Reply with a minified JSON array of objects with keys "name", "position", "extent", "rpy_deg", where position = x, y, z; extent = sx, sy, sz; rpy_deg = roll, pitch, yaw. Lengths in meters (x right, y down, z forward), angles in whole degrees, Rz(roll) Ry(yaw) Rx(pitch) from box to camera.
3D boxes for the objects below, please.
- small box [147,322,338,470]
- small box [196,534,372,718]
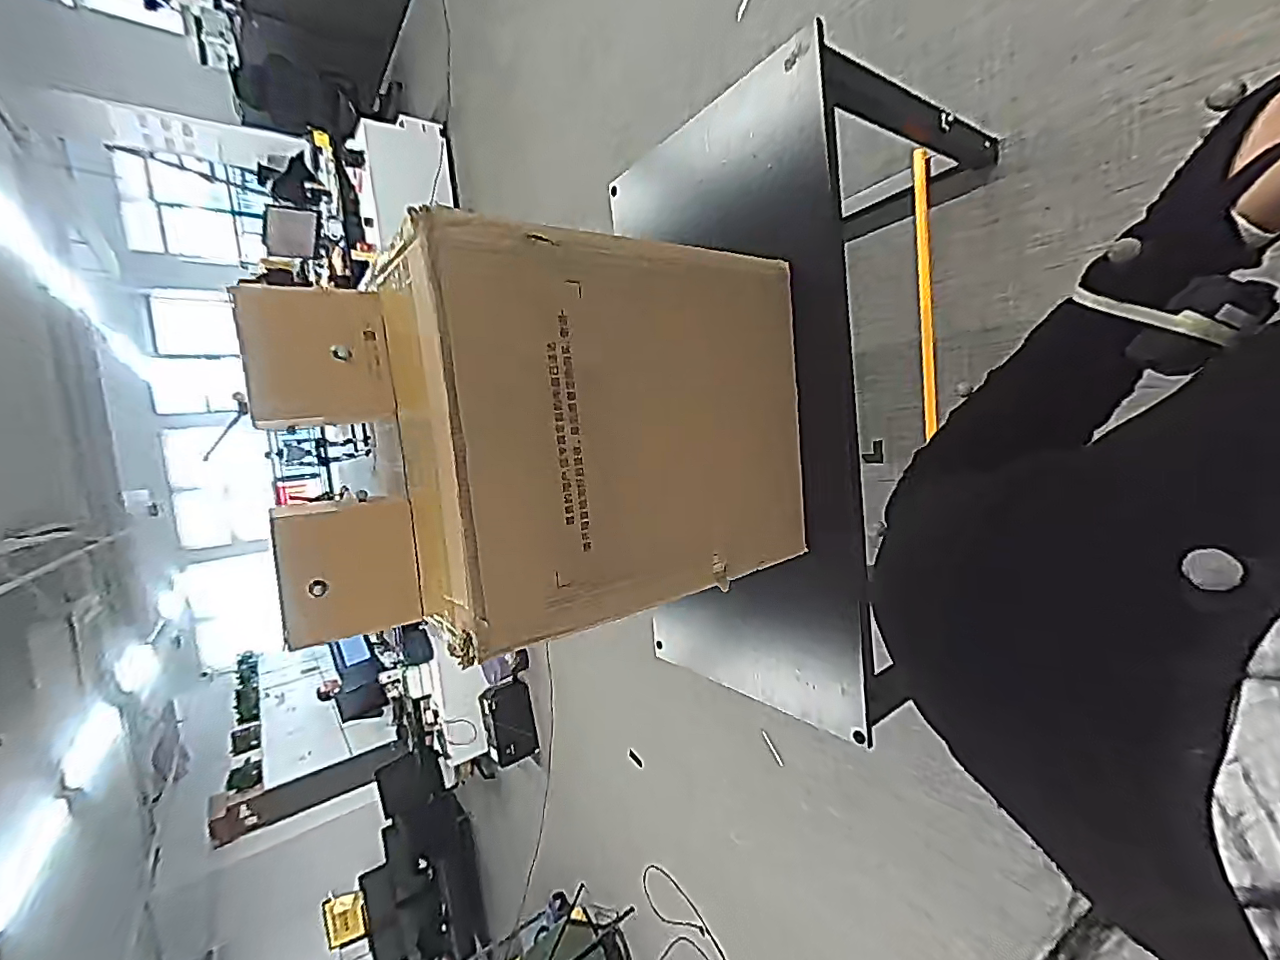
[{"name":"small box","position":[-0.505,-0.104,0.709],"extent":[0.179,0.176,0.168],"rpy_deg":[0,99,56]},{"name":"small box","position":[-0.469,0.179,0.727],"extent":[0.168,0.176,0.179],"rpy_deg":[3,99,55]}]
